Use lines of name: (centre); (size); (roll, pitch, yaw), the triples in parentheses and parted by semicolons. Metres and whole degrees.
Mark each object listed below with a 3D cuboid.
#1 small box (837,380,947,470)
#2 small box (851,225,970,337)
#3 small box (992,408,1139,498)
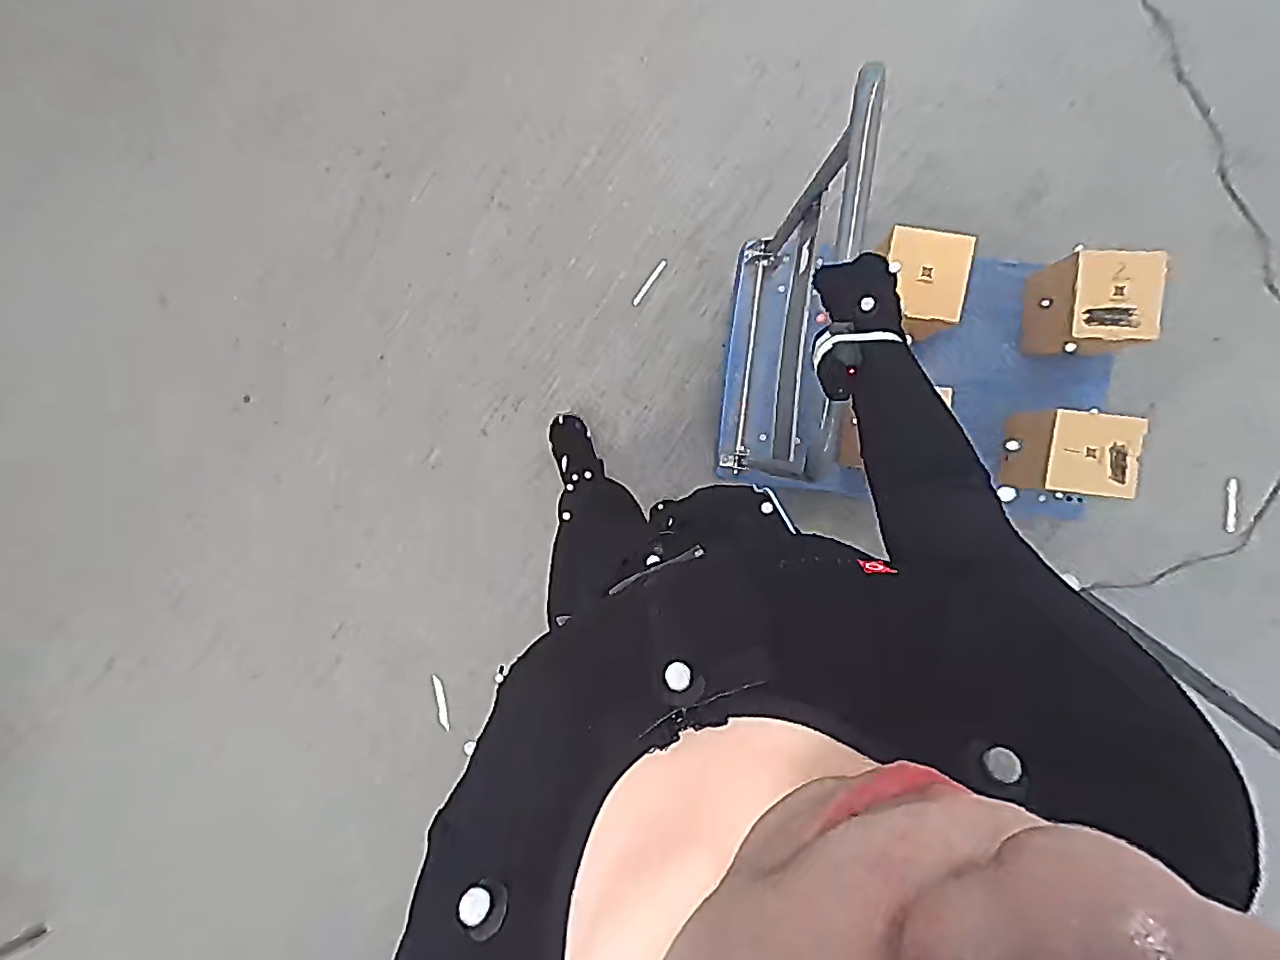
small box: (0.546, -0.116, 1.194); (0.168, 0.176, 0.179); (4, 93, 3)
small box: (0.577, -0.424, 1.177); (0.168, 0.176, 0.179); (9, 95, 2)
small box: (0.916, -0.061, 1.178); (0.179, 0.176, 0.168); (7, 93, 4)
